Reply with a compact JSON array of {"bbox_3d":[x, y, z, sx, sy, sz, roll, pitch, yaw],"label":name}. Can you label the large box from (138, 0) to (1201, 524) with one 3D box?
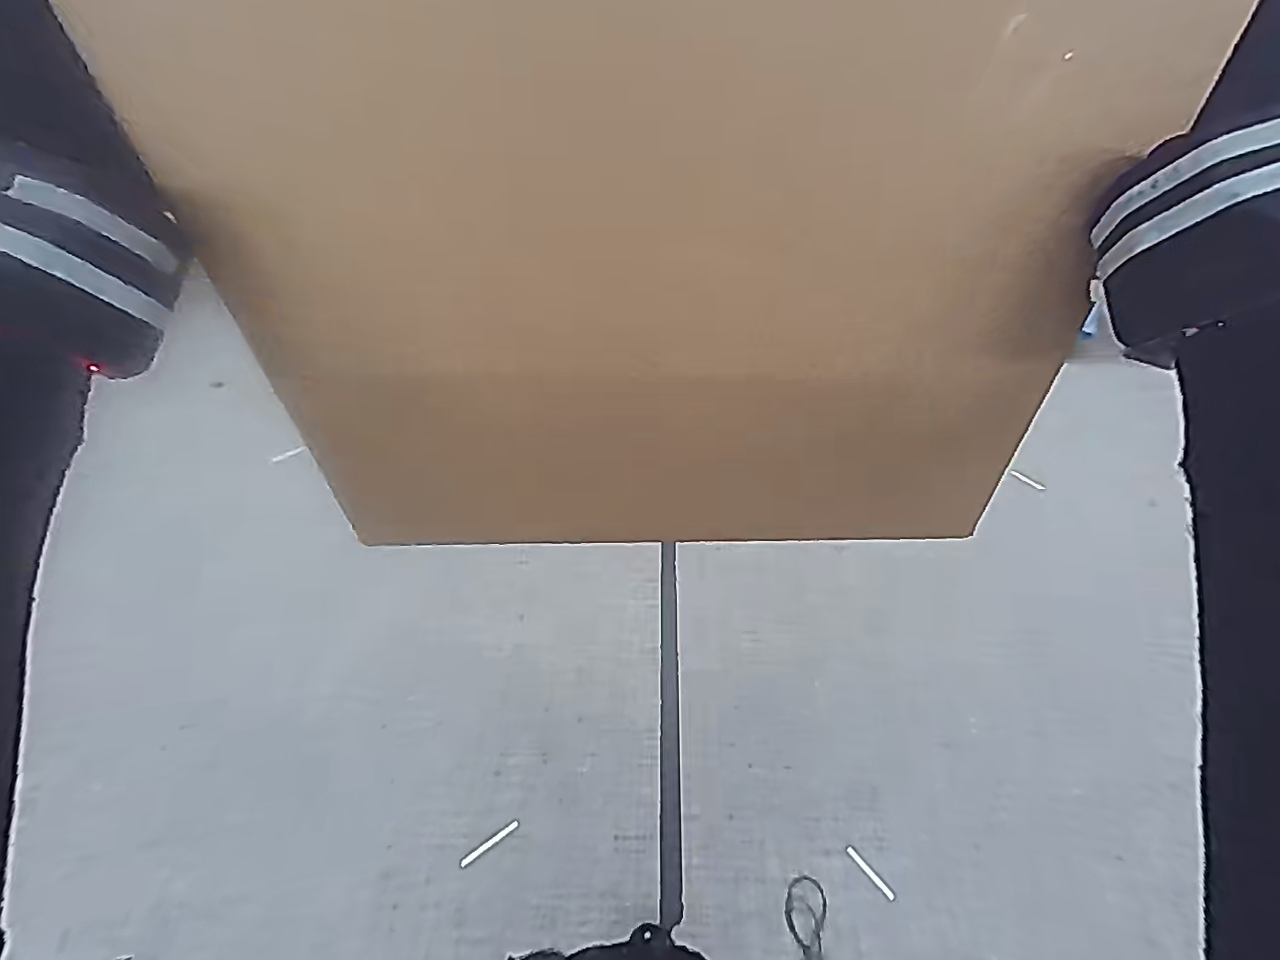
[{"bbox_3d":[0.013,-0.183,0.387,0.408,0.320,0.320,-1,42,1],"label":"large box"}]
